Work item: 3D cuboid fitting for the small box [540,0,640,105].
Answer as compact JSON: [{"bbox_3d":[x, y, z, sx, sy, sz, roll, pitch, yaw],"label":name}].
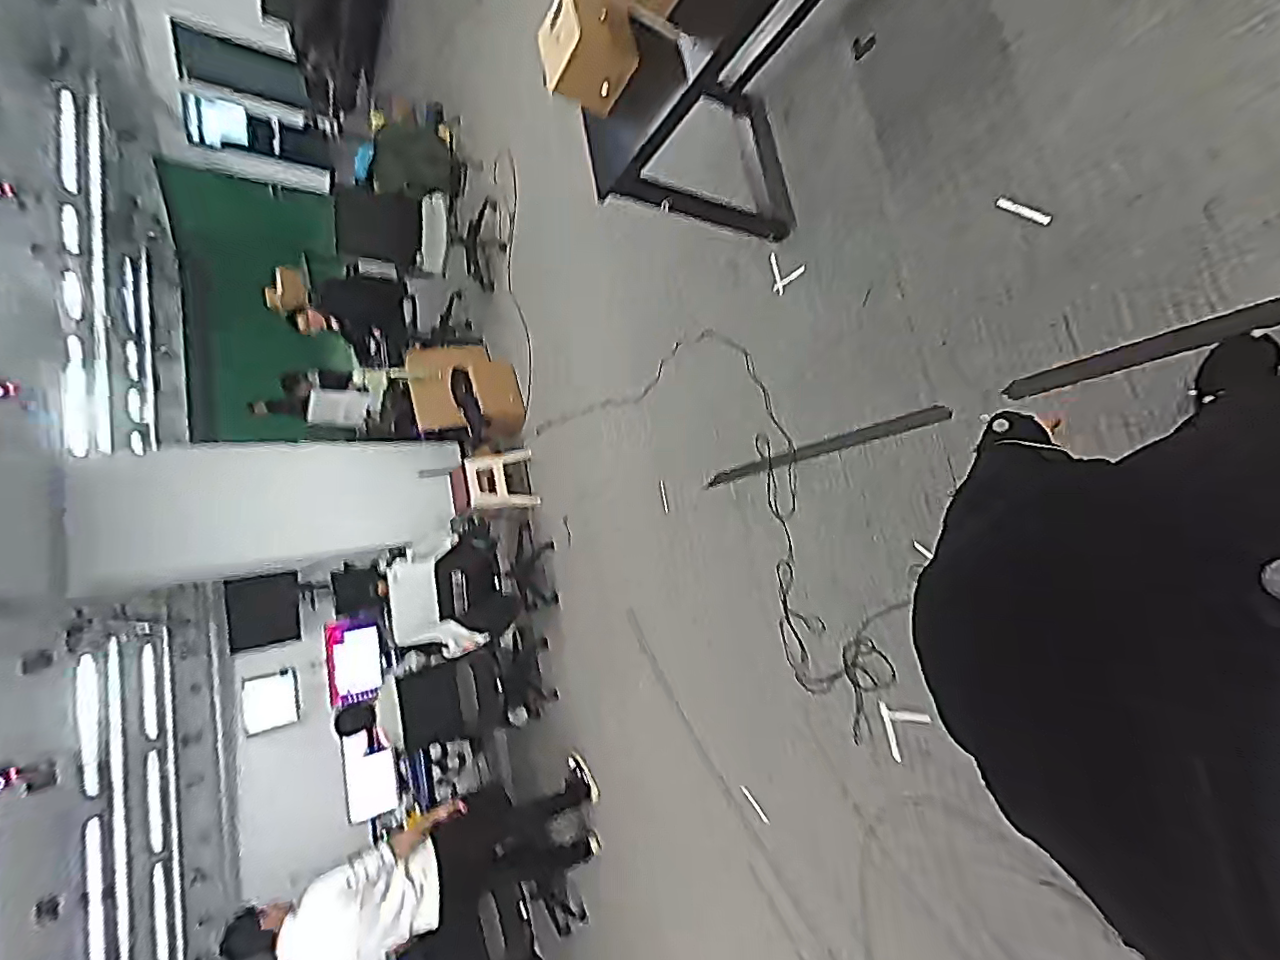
[{"bbox_3d":[-0.123,-1.075,1.327,0.168,0.176,0.179,-25,74,53],"label":"small box"}]
